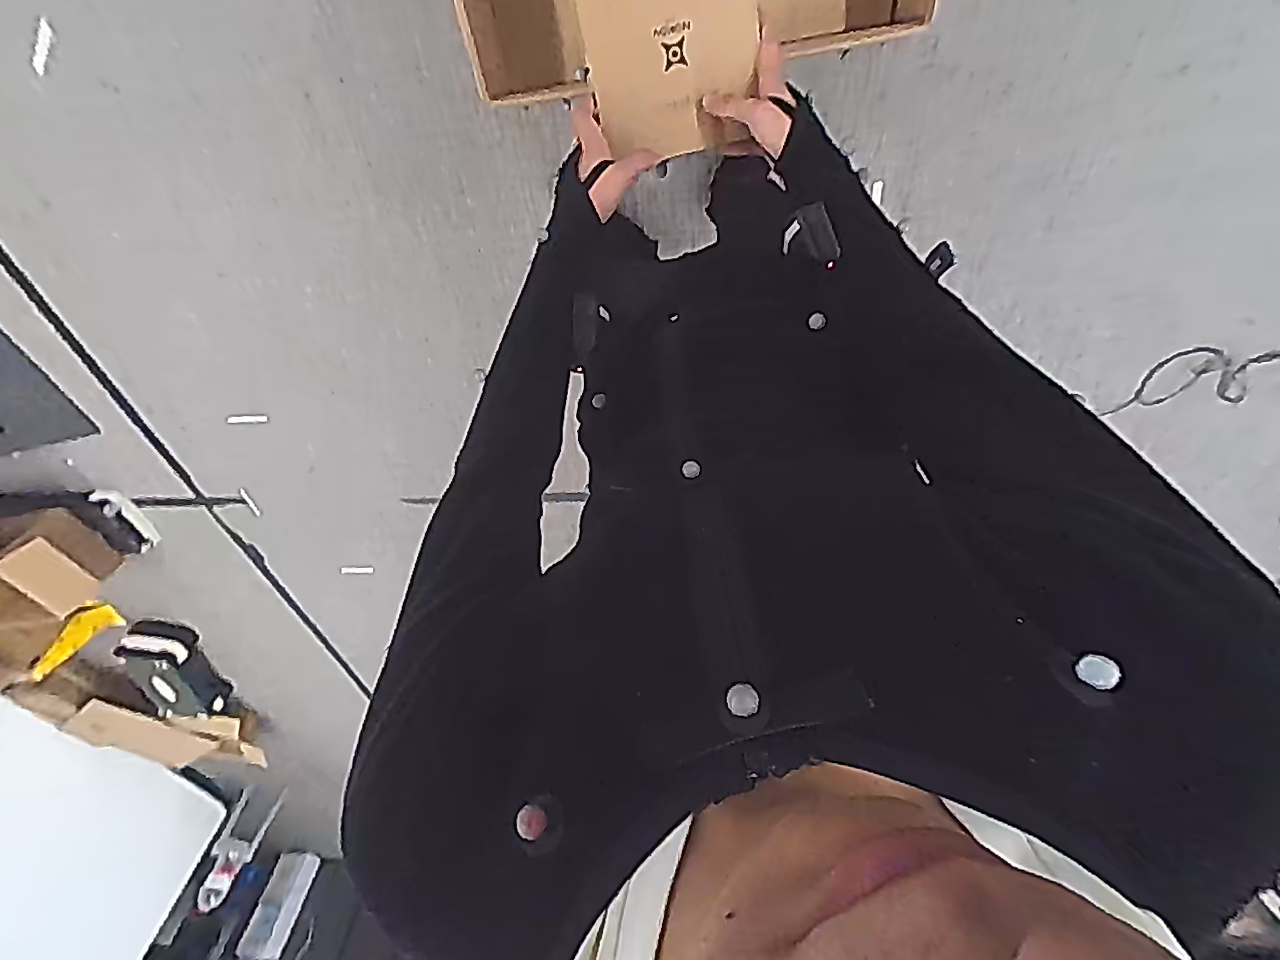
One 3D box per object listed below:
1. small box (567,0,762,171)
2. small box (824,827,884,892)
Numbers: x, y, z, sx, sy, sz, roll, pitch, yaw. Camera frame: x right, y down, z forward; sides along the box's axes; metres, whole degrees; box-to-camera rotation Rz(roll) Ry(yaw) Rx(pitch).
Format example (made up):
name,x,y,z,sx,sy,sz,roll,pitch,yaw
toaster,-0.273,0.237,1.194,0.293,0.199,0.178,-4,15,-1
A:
name,x,y,z,sx,sy,sz,roll,pitch,yaw
small box,0.020,-0.446,0.576,0.168,0.176,0.179,-13,120,2
small box,0.798,1.426,2.032,0.168,0.176,0.179,-2,132,8
